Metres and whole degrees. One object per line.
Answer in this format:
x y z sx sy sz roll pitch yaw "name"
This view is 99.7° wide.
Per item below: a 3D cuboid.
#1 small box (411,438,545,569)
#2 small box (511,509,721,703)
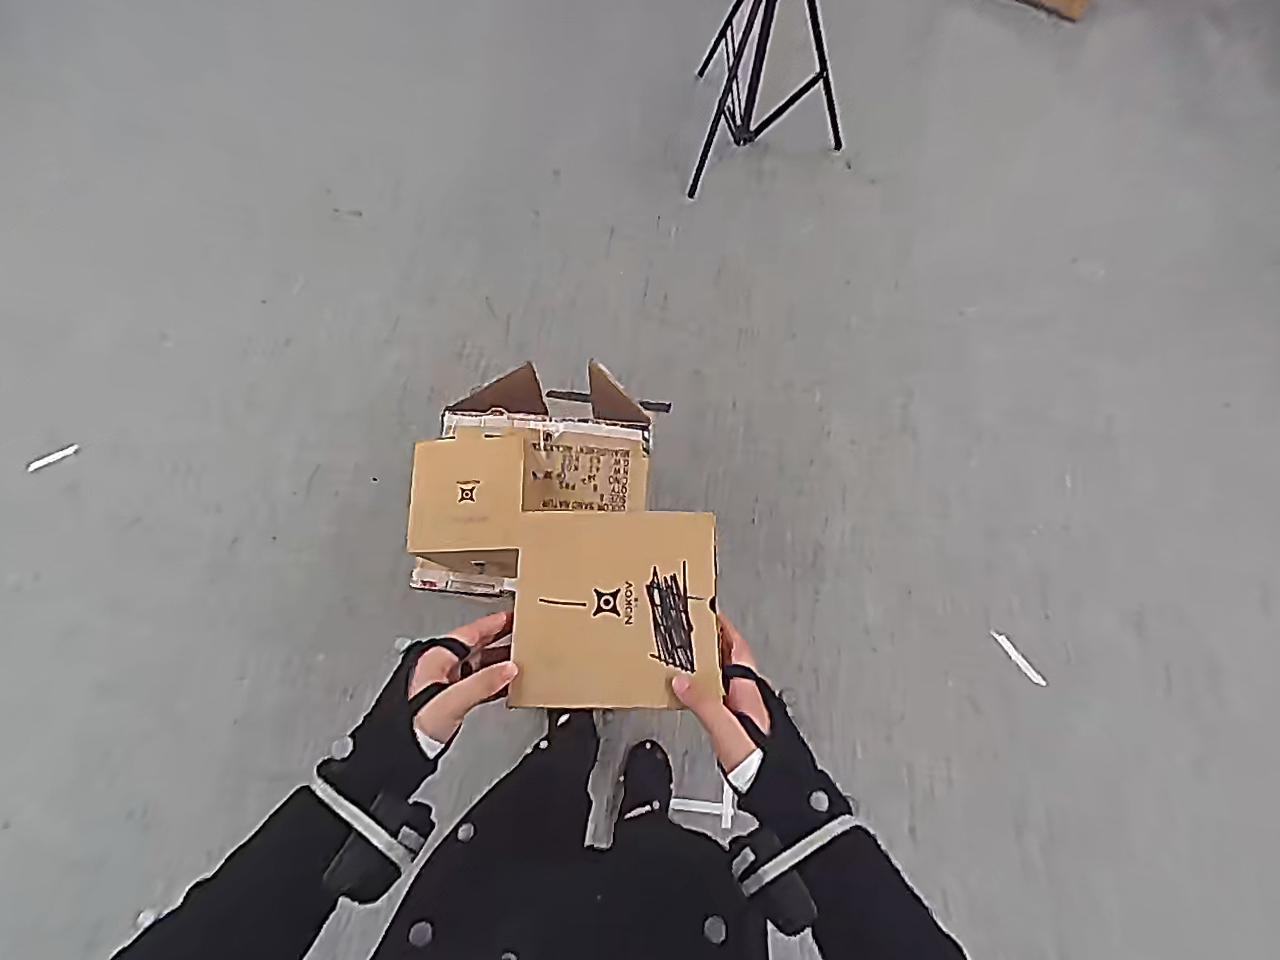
-0.249 0.044 0.870 0.168 0.176 0.179 -3 75 0 "small box"
-0.020 0.131 0.545 0.179 0.176 0.168 0 70 0 "small box"
